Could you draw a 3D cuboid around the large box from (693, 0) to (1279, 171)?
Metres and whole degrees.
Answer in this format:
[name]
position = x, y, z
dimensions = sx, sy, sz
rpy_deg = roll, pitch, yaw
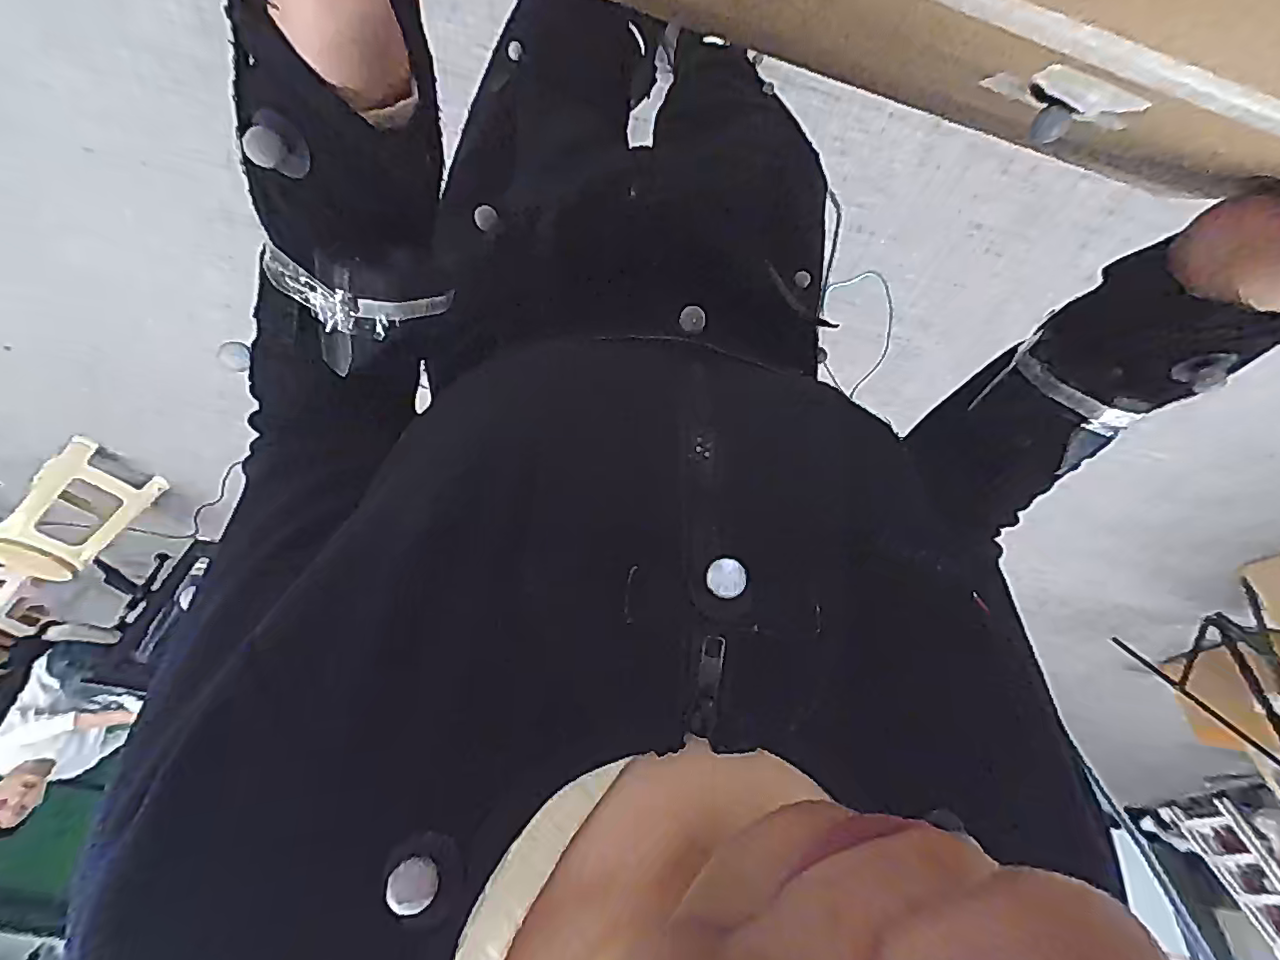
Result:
[large box]
position = 0.136, -0.280, 0.076
dimensions = 0.408, 0.320, 0.320
rpy_deg = 15, 118, -5
